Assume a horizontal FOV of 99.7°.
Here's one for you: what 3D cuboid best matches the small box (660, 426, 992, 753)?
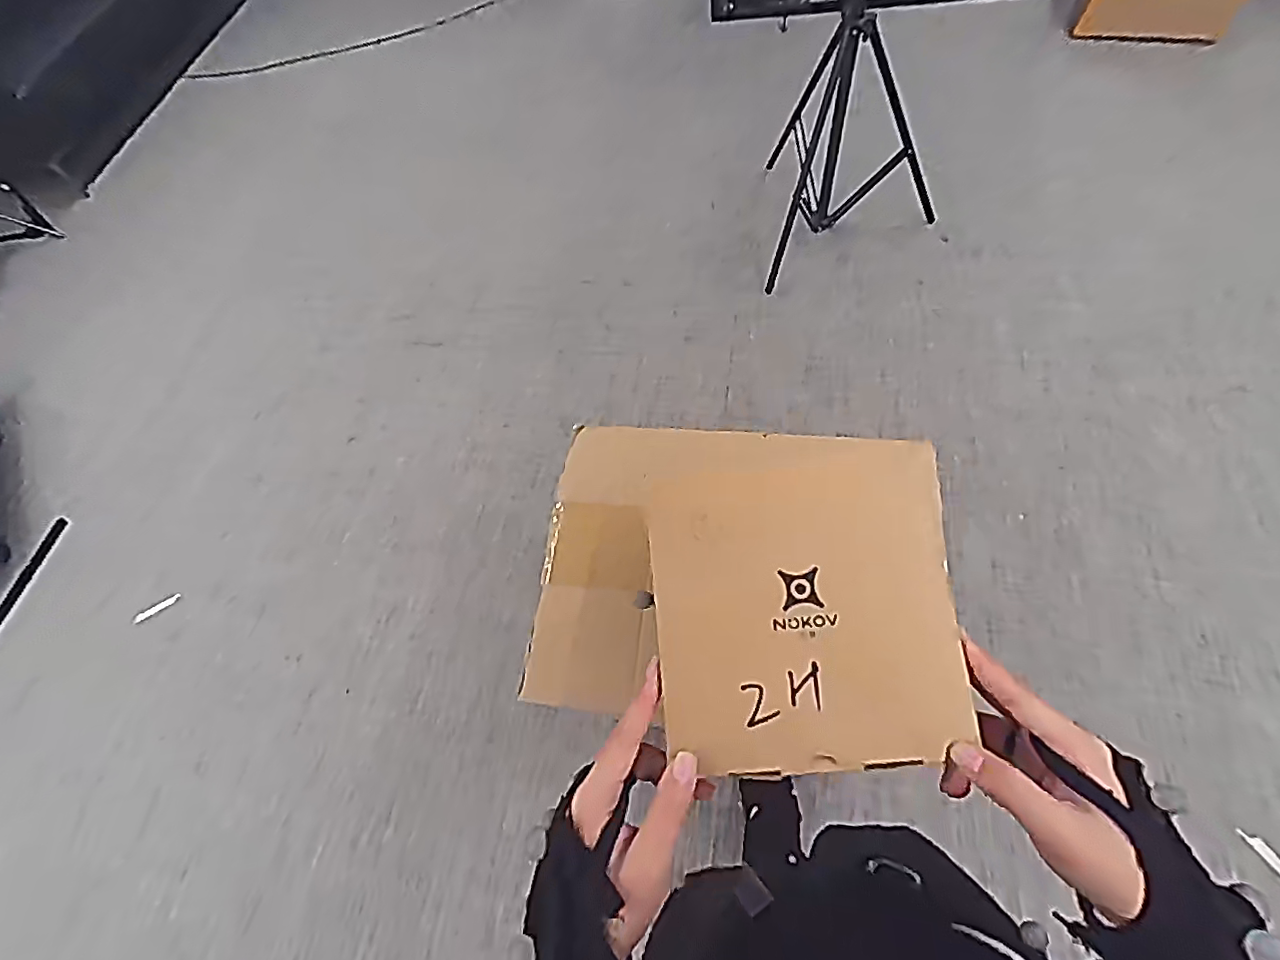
[{"bbox_3d":[0.102,0.077,0.381,0.168,0.176,0.179,-5,75,4],"label":"small box"}]
